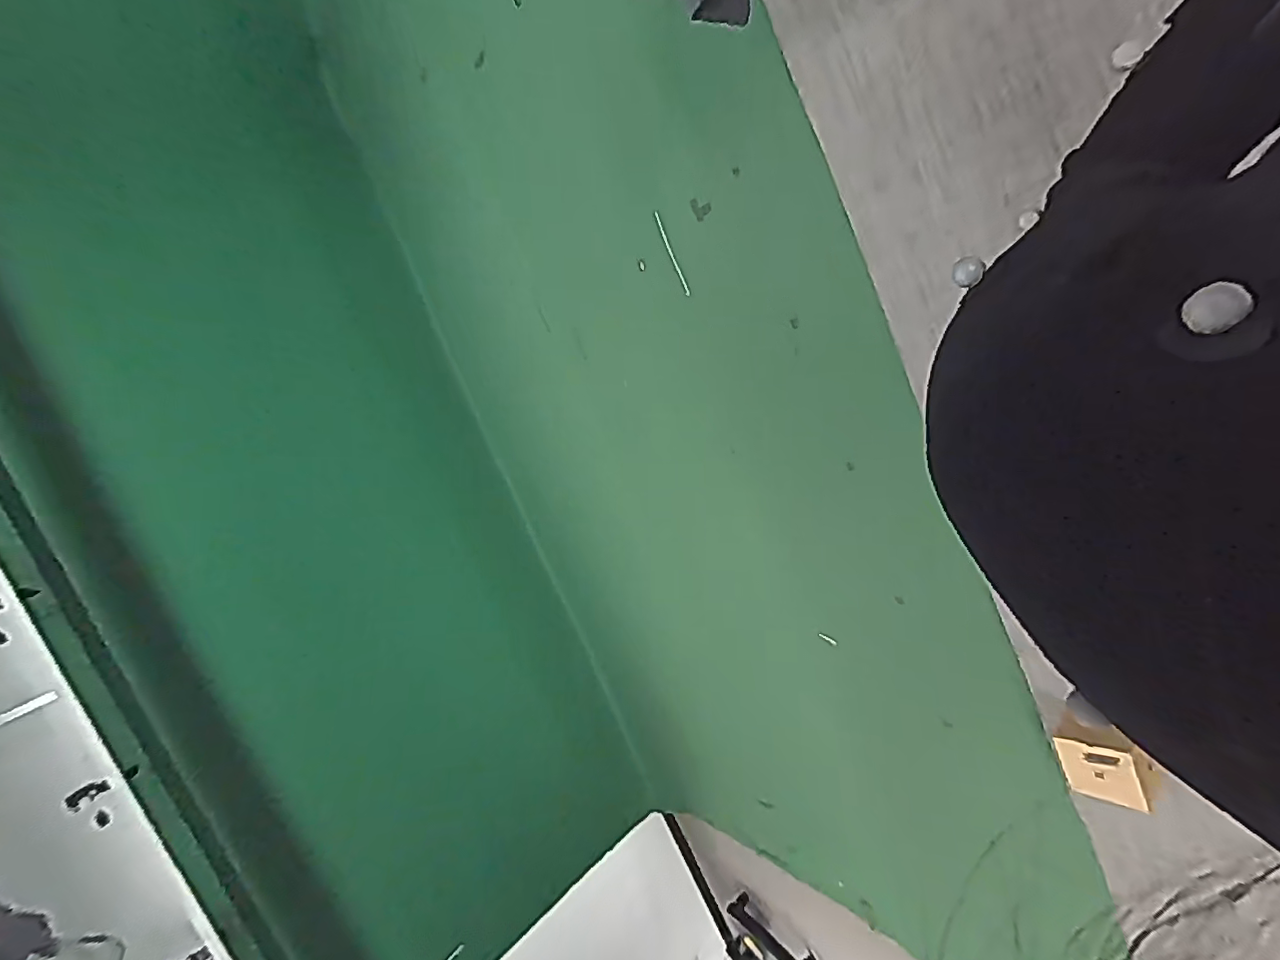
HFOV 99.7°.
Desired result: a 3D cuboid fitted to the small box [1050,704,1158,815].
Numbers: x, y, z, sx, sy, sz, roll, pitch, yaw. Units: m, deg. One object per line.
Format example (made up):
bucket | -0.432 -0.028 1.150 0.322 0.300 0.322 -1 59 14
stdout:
small box | 1.228 0.725 1.430 0.168 0.176 0.179 -12 104 56
